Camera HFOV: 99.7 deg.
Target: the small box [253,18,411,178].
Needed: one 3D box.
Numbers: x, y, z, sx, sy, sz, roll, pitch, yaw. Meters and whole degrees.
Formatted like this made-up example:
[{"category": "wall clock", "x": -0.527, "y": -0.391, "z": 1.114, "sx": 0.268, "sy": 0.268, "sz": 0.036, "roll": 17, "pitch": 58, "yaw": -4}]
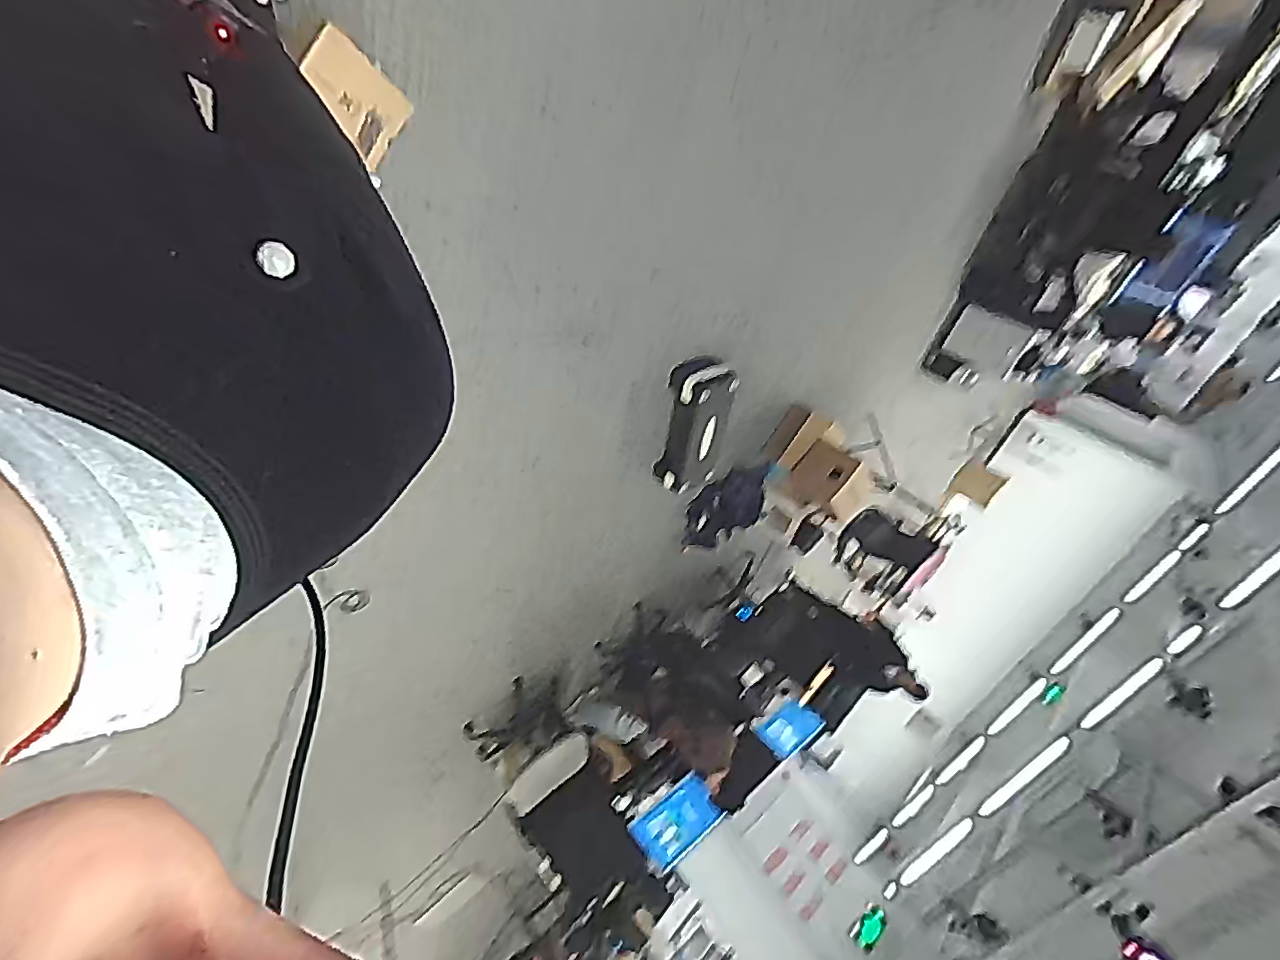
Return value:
[{"category": "small box", "x": -0.574, "y": -0.714, "z": 1.009, "sx": 0.168, "sy": 0.176, "sz": 0.179, "roll": -52, "pitch": 146, "yaw": 4}]
